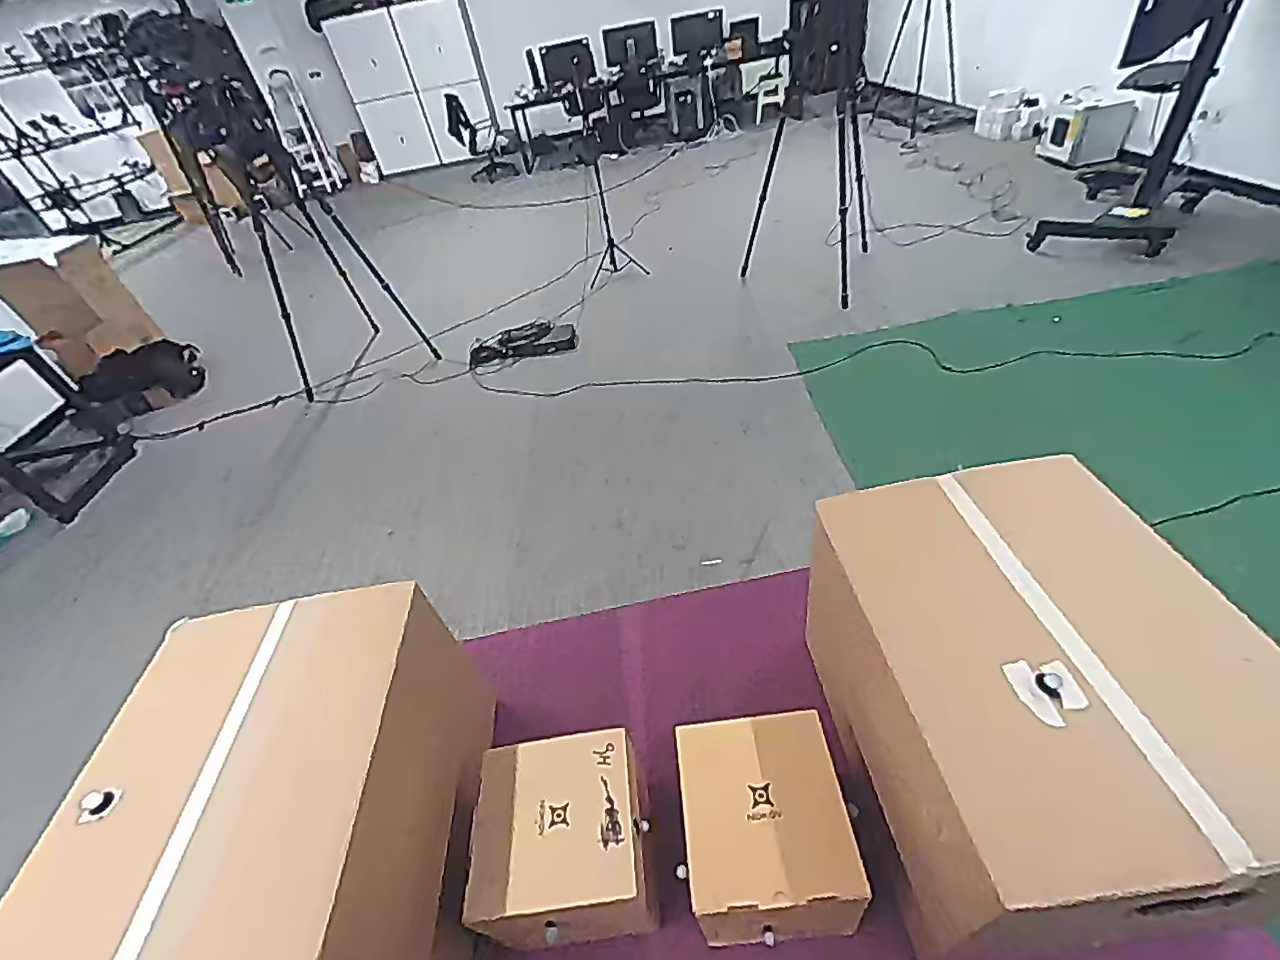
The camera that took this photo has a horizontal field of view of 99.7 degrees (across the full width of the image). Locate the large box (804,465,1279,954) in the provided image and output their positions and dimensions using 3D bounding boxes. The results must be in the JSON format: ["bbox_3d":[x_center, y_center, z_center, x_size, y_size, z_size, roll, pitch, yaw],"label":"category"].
[{"bbox_3d":[0.409,0.243,0.617,0.320,0.320,0.408,-10,42,2],"label":"large box"}]
